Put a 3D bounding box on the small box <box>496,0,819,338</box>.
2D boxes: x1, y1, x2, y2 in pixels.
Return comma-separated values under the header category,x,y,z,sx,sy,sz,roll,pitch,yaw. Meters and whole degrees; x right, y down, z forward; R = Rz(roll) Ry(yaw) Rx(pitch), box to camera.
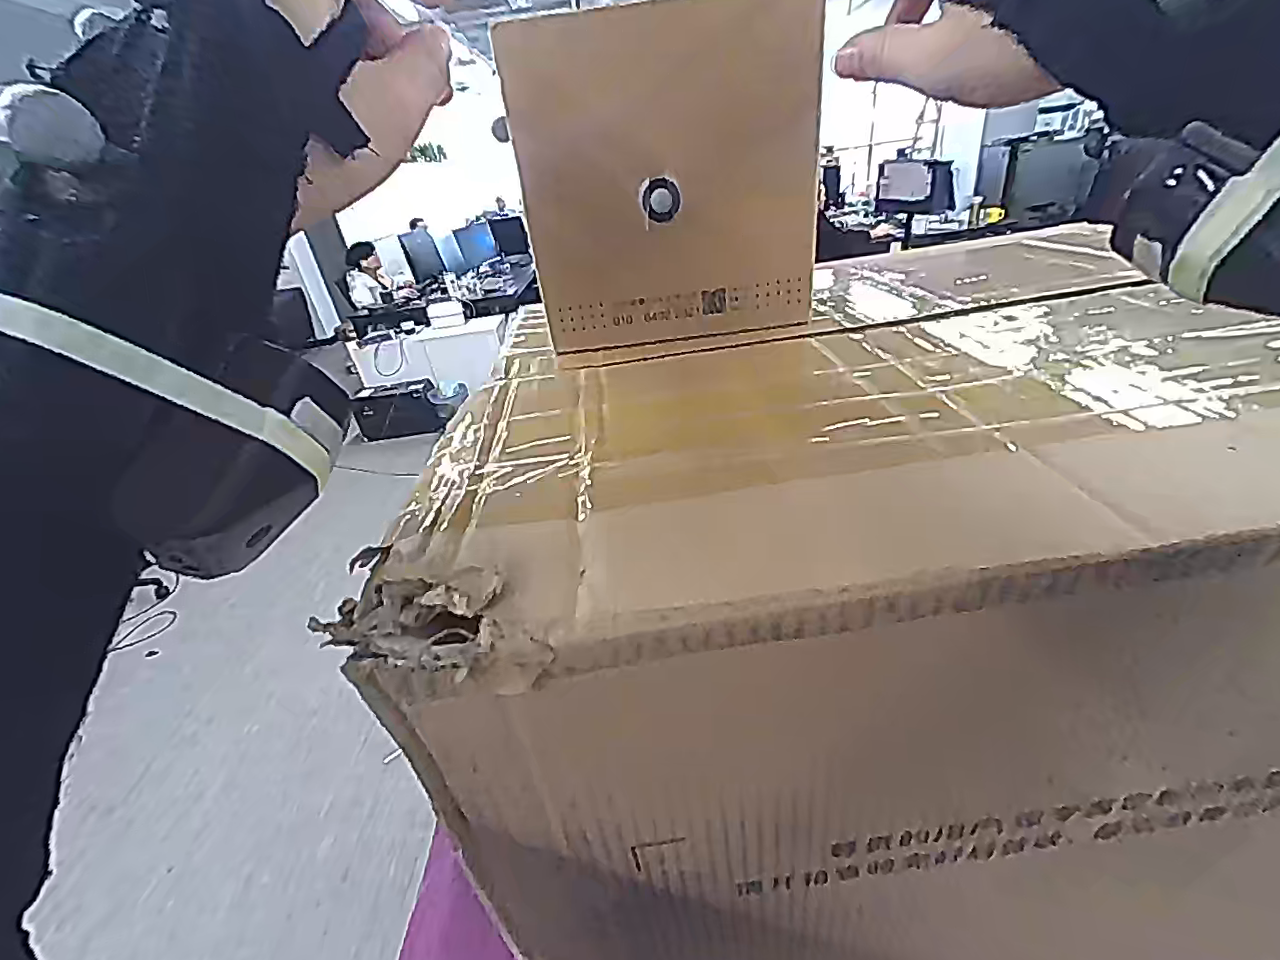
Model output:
category,x,y,z,sx,sy,sz,roll,pitch,yaw
small box,0.017,-0.202,0.374,0.168,0.176,0.179,-6,30,2
